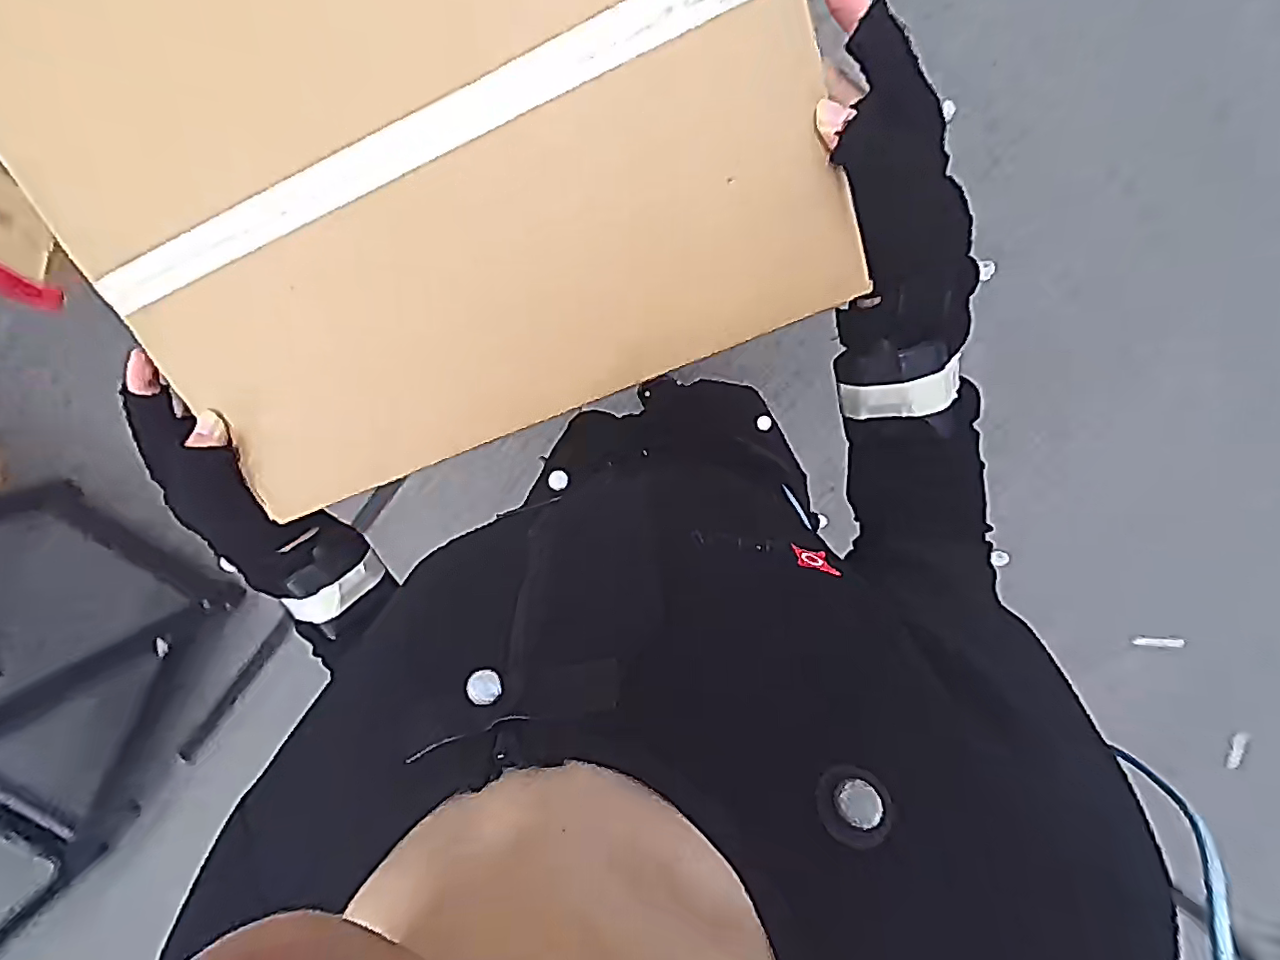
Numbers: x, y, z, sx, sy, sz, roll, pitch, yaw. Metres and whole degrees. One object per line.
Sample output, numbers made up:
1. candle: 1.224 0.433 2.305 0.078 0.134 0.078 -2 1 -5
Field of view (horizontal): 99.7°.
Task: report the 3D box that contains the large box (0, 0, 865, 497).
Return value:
1. large box: -0.104 -0.238 0.428 0.408 0.320 0.320 -19 112 9
